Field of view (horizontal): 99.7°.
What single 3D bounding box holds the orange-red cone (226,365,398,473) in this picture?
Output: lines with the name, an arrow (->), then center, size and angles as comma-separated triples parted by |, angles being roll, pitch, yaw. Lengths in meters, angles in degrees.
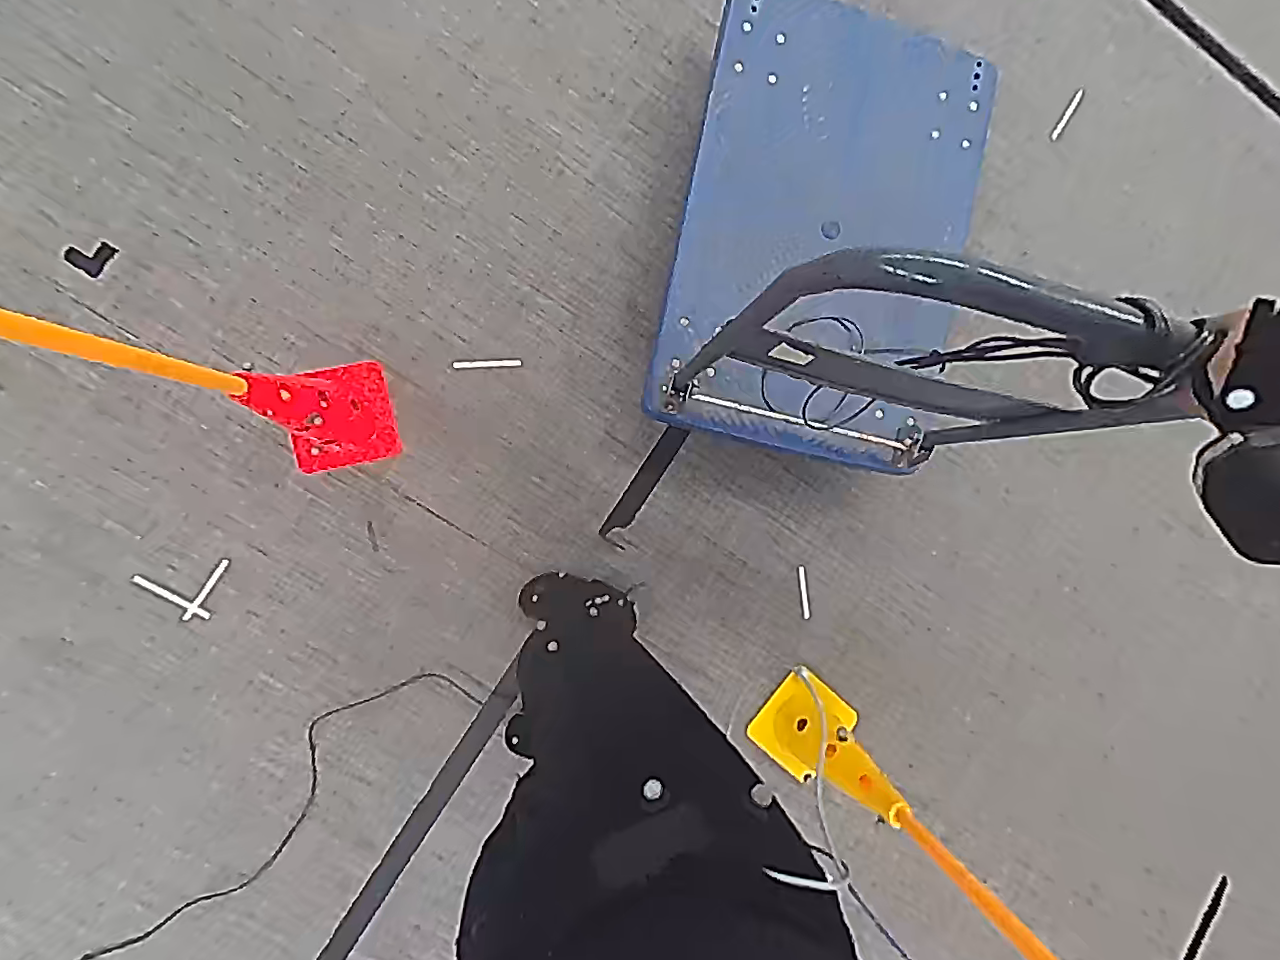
orange-red cone -> -0.571, -0.123, 0.908 | 0.199, 0.360, 0.198 | -12, 92, -10
